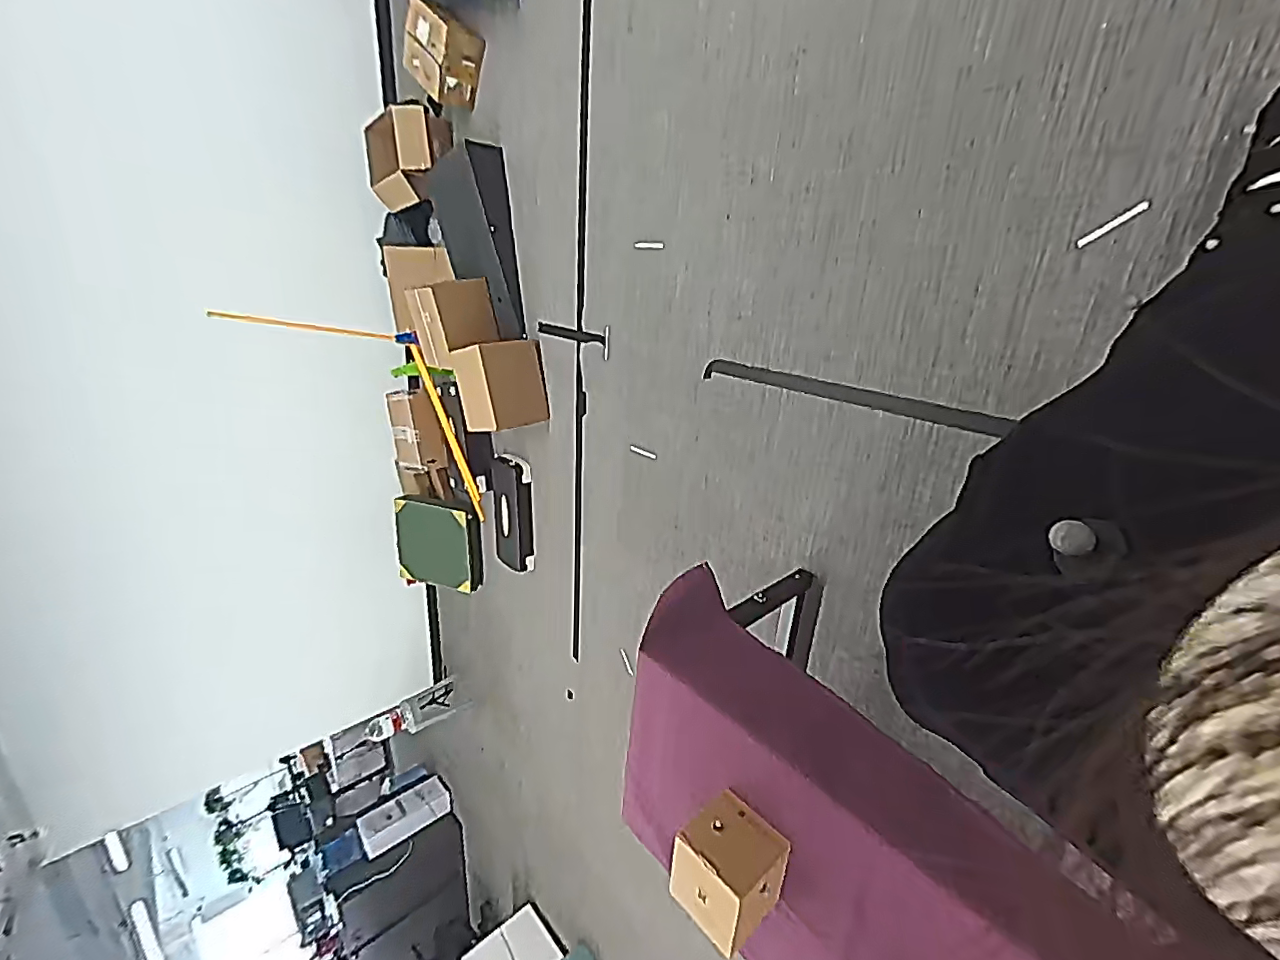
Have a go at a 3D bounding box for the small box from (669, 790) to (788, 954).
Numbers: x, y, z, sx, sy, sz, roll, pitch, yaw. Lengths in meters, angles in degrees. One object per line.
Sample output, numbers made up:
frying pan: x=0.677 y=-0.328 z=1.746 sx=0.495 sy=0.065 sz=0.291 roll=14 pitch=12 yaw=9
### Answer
small box: x=0.181 y=0.786 z=1.107 sx=0.168 sy=0.176 sz=0.179 roll=25 pitch=119 yaw=42
